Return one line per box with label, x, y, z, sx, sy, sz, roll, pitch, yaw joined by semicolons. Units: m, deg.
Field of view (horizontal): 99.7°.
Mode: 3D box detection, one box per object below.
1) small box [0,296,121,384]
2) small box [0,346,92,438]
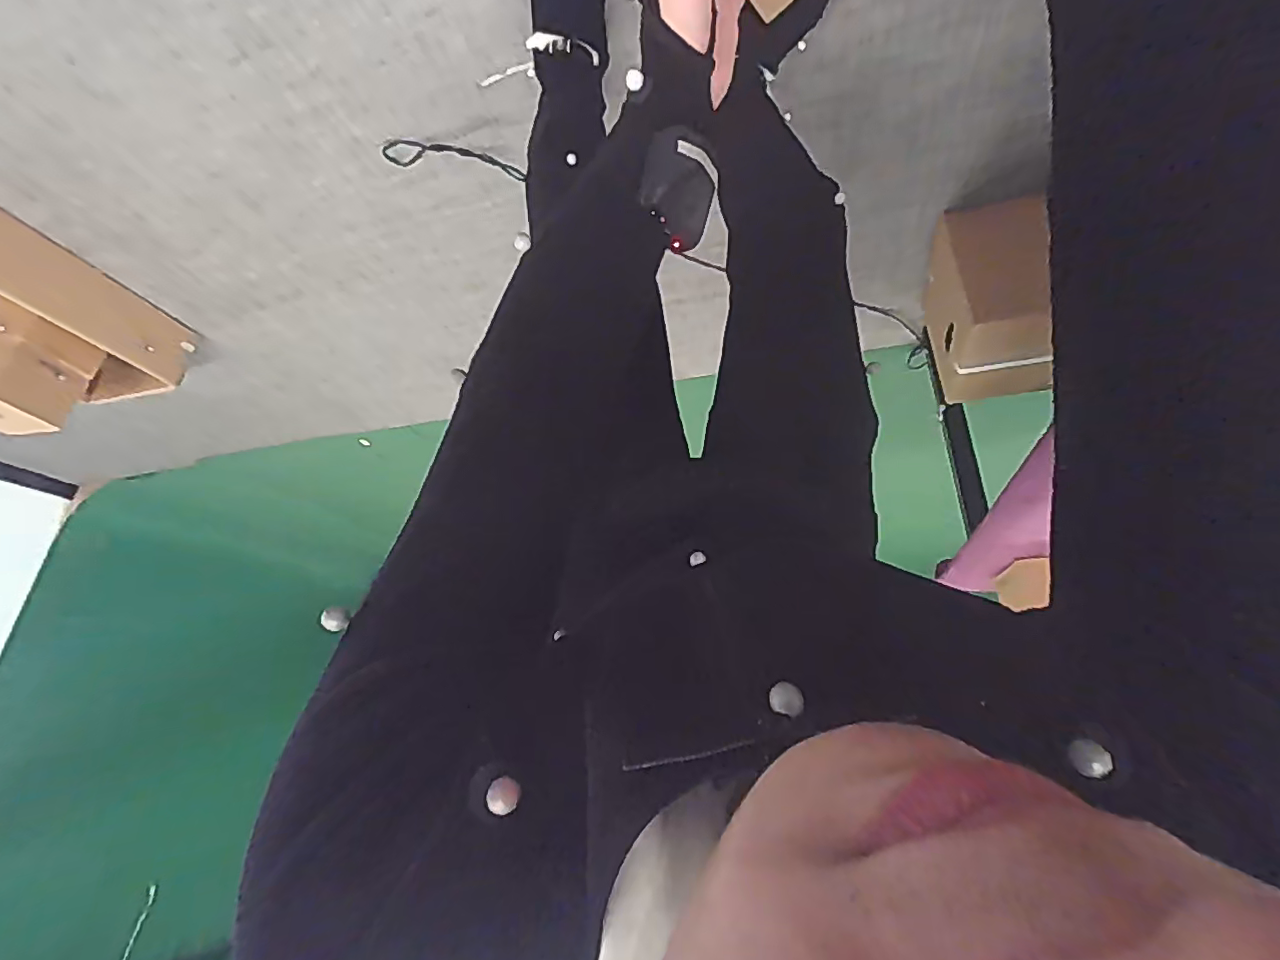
small box;-1.579;-0.370;1.463;0.179;0.176;0.168;-5;151;12
small box;-1.589;-0.225;1.389;0.179;0.176;0.168;-3;153;9
